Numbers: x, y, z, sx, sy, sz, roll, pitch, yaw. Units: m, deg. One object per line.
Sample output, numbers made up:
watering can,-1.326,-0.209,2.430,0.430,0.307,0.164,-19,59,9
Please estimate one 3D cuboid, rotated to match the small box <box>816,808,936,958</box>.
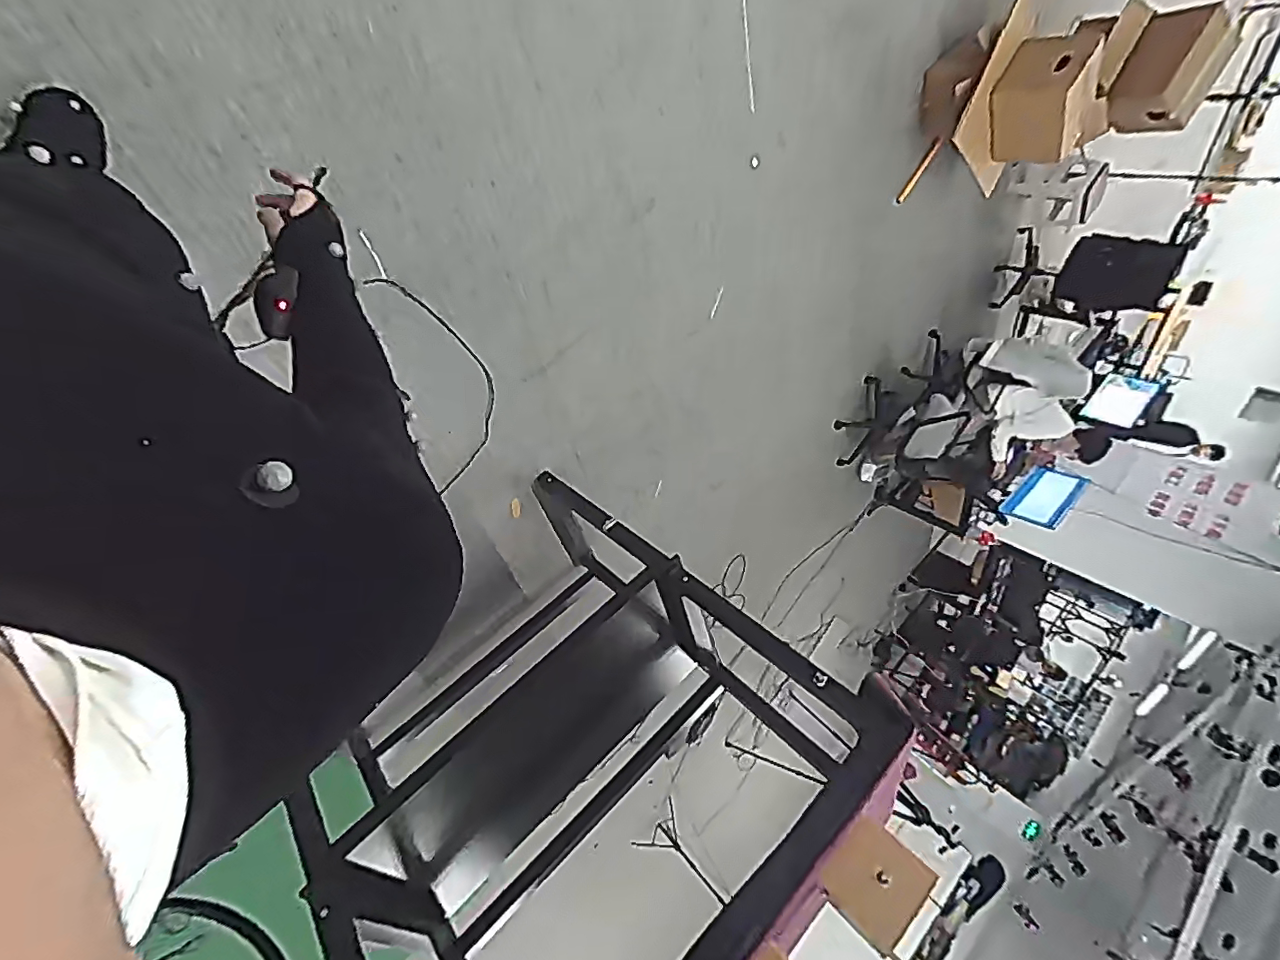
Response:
small box,0.485,0.840,1.134,0.179,0.176,0.168,-41,138,-20
